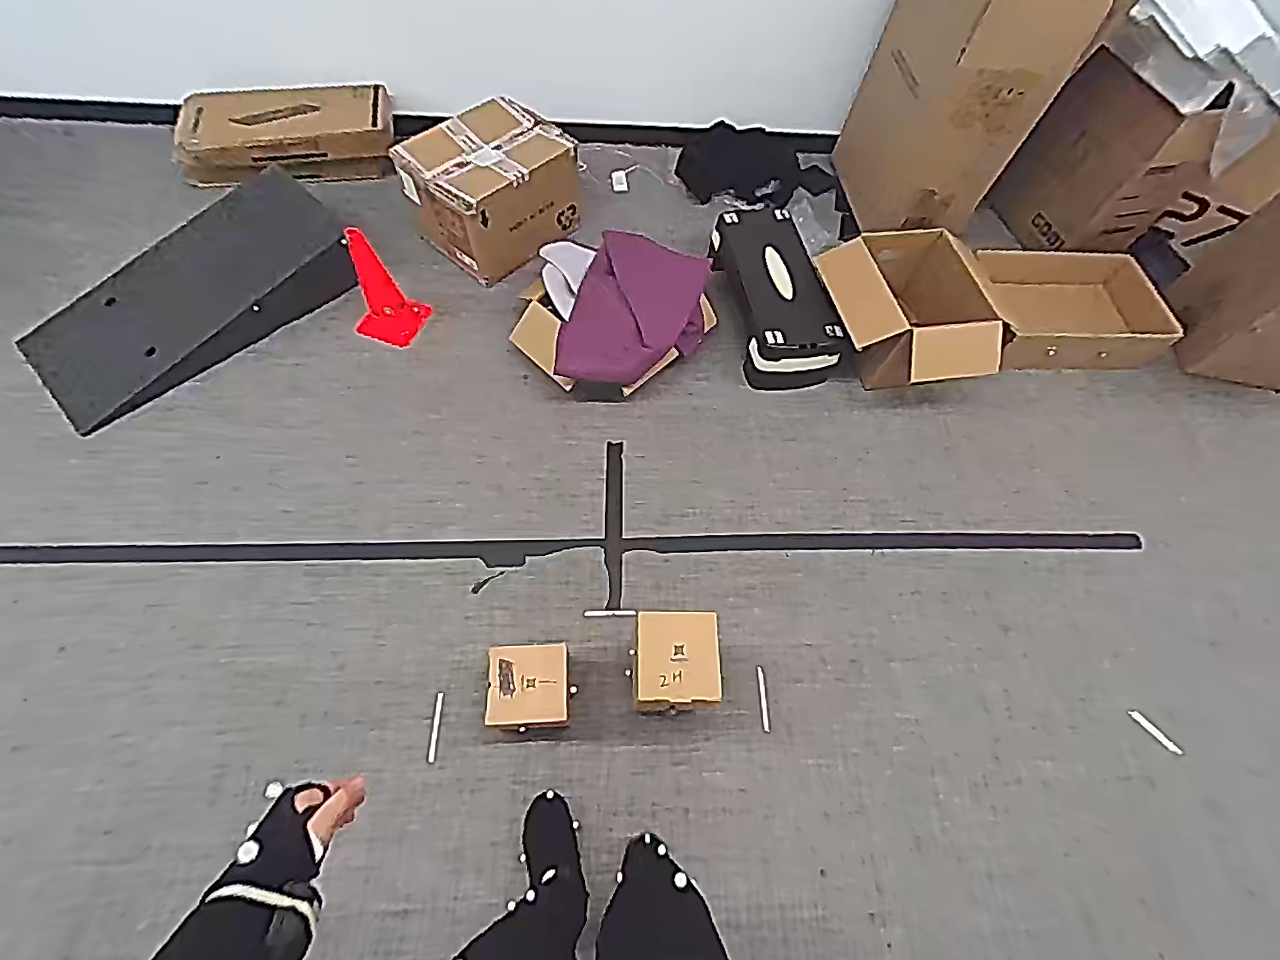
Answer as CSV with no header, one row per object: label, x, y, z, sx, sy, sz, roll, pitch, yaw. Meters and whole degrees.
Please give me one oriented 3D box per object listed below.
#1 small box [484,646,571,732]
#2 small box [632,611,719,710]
small box,-0.256,0.491,1.265,0.179,0.176,0.168,-1,62,-5
small box,0.068,0.389,1.155,0.168,0.176,0.179,1,63,-3
